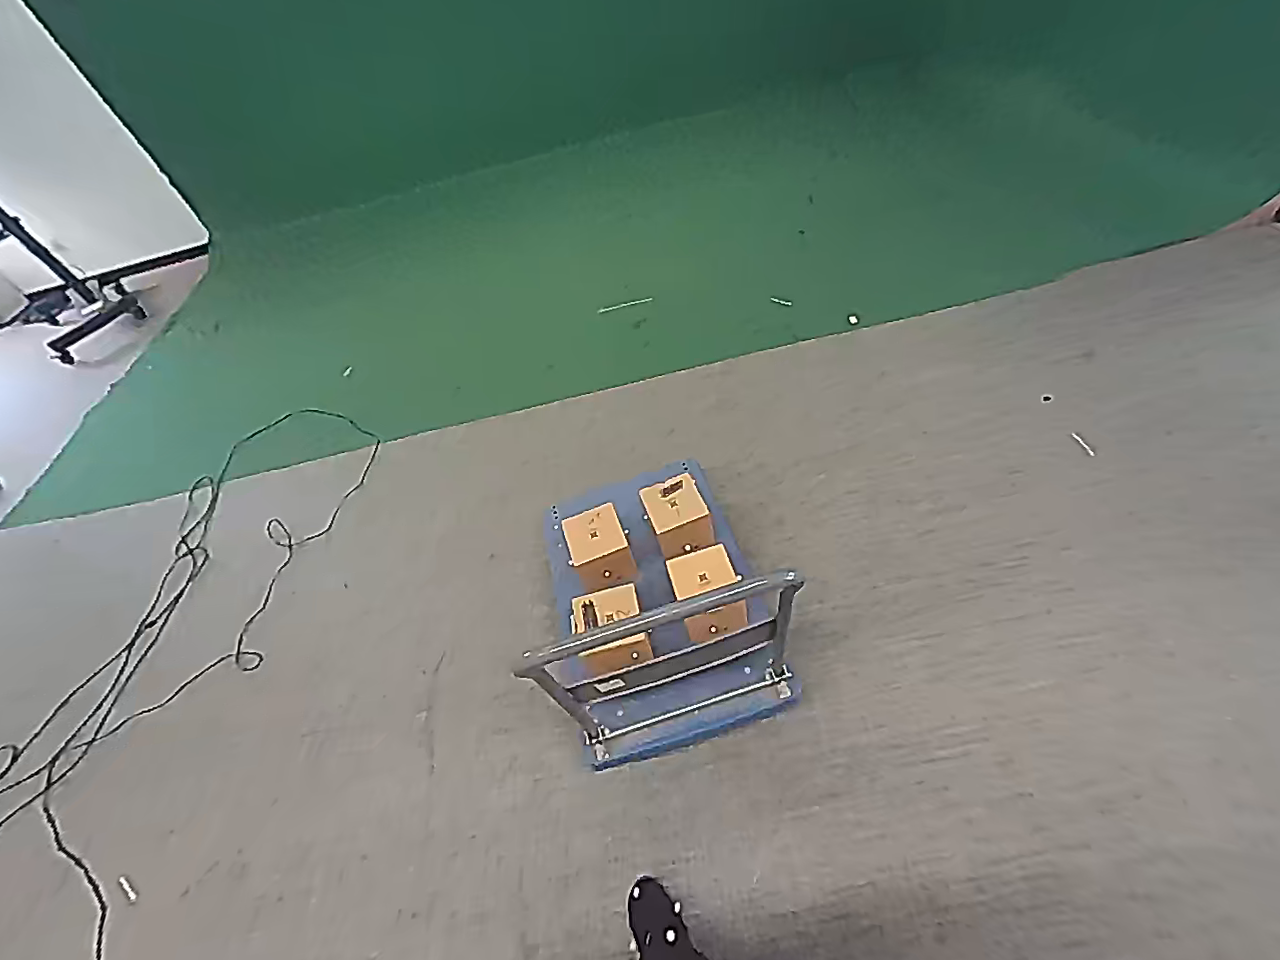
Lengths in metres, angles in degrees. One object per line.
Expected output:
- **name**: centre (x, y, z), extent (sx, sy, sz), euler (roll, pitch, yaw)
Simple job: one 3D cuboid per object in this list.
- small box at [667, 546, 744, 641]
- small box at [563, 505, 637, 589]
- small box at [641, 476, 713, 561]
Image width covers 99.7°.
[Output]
- **small box**: centre (0.183, 0.317, 1.501), extent (0.168, 0.176, 0.179), euler (-17, 50, -1)
- **small box**: centre (-0.119, 0.214, 1.660), extent (0.168, 0.176, 0.179), euler (-20, 49, -4)
- **small box**: centre (0.115, 0.123, 1.676), extent (0.168, 0.176, 0.179), euler (-21, 50, -3)
